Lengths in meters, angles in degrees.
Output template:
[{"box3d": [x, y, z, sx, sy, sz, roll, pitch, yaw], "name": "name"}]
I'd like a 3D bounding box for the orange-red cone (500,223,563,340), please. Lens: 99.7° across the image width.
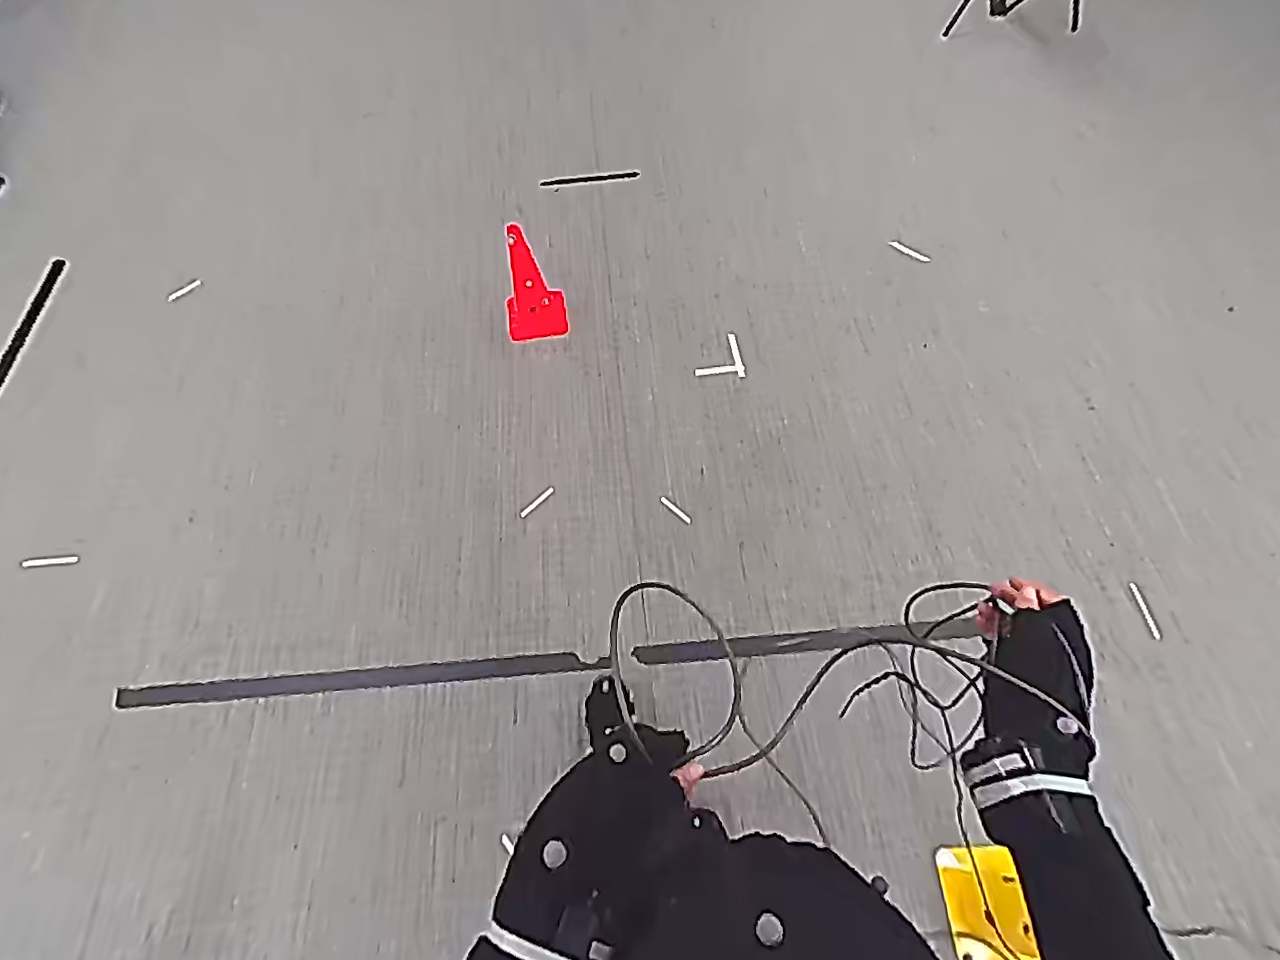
[{"box3d": [-0.371, -0.635, 1.681, 0.199, 0.360, 0.198, -10, 64, -1], "name": "orange-red cone"}]
